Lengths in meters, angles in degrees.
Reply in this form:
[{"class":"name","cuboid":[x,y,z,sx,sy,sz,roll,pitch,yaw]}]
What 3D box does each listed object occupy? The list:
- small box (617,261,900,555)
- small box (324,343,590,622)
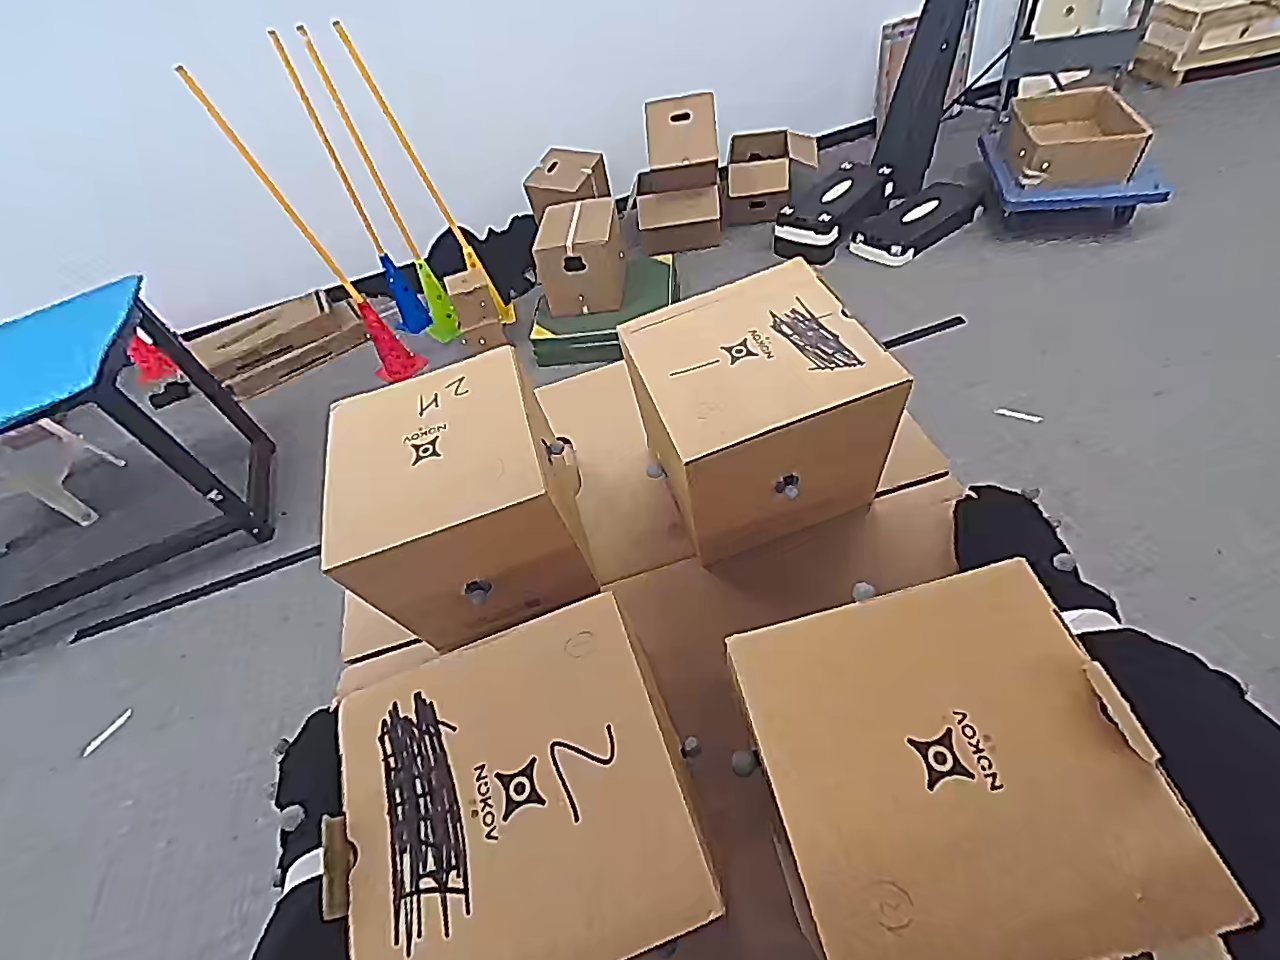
[{"class":"small box","cuboid":[0.096,-0.058,0.491,0.179,0.176,0.168,-20,54,-1]},{"class":"small box","cuboid":[-0.155,0.013,0.496,0.168,0.176,0.179,-18,54,-1]}]
